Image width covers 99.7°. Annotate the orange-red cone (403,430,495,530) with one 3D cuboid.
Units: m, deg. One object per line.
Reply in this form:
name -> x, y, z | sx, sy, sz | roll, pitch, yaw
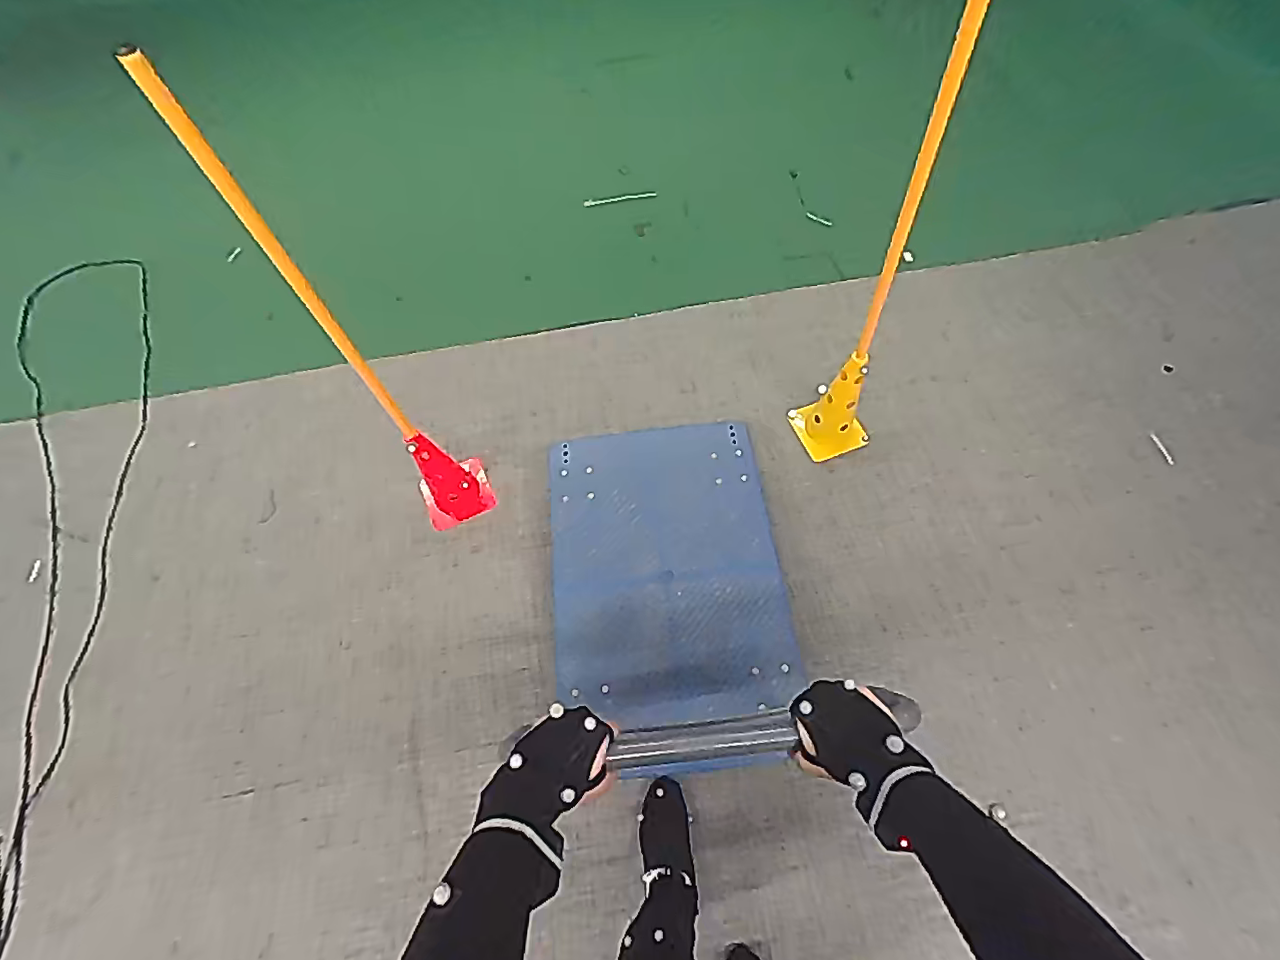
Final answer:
orange-red cone -> -0.573, -0.032, 1.524 | 0.199, 0.360, 0.198 | -24, 64, -7
